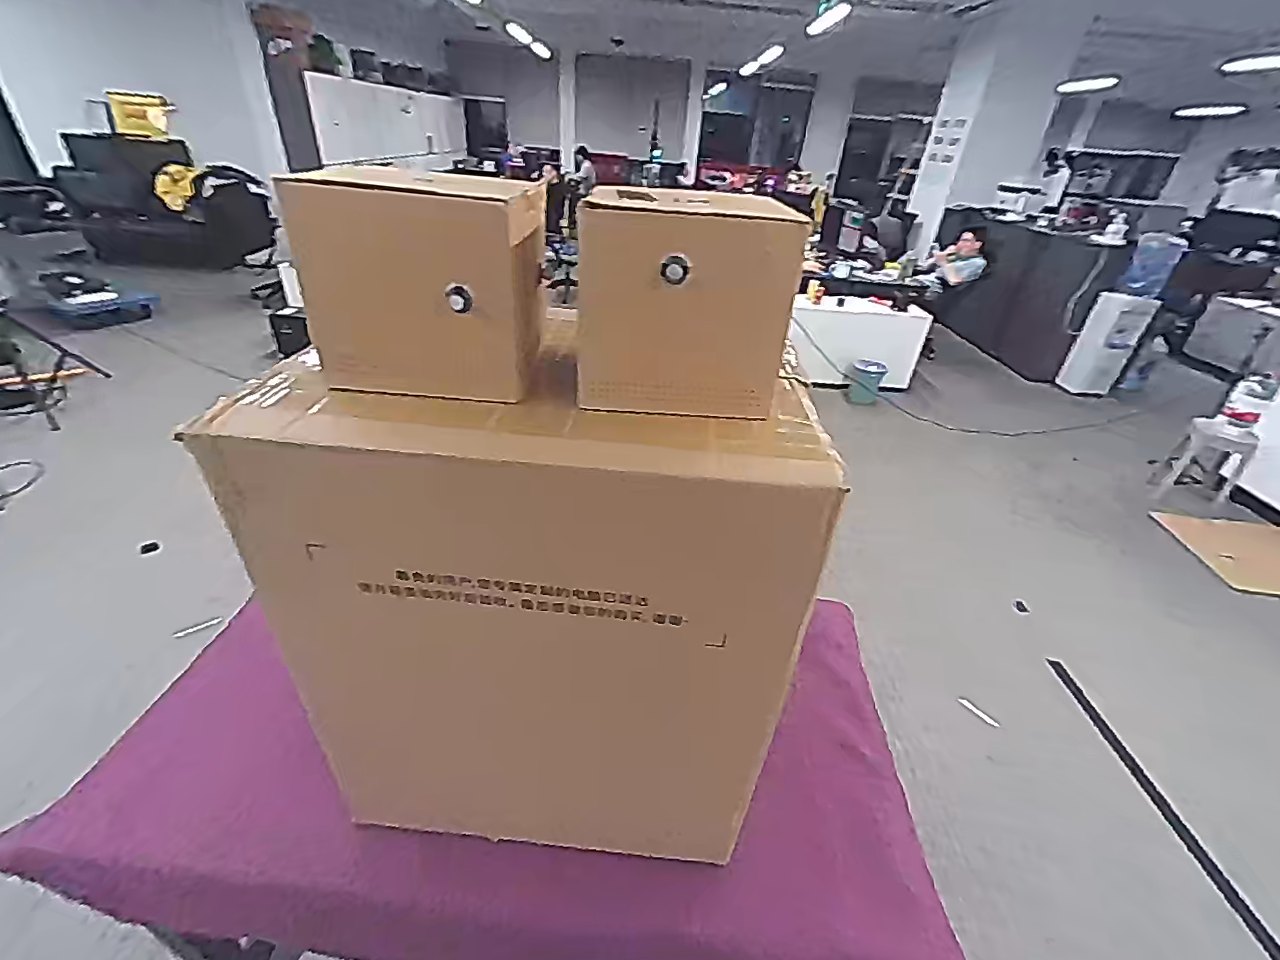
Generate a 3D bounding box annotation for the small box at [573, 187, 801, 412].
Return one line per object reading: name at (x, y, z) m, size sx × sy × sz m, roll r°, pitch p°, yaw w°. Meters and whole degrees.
small box at (0.033, -0.173, 0.512) m, size 0.179 × 0.176 × 0.168 m, roll 3°, pitch 32°, yaw -2°

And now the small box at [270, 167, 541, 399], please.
small box at (-0.190, -0.185, 0.506) m, size 0.179 × 0.176 × 0.168 m, roll 3°, pitch 31°, yaw -2°
